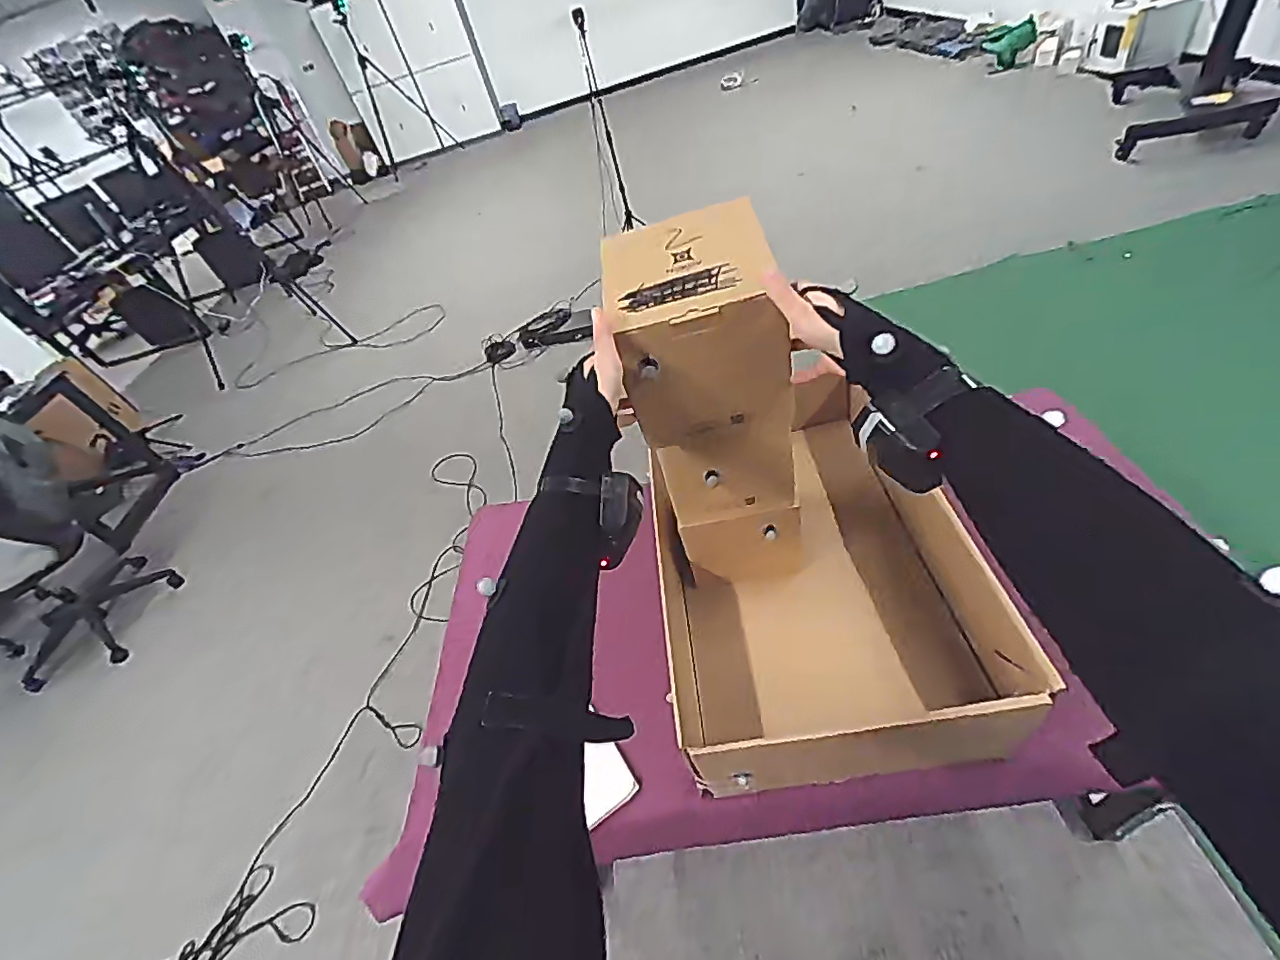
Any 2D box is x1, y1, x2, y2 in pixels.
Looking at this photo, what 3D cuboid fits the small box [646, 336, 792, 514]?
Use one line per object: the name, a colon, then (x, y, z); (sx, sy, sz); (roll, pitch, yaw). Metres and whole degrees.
small box: (0.111, -0.069, 0.760); (0.168, 0.176, 0.179); (-12, 45, 9)
